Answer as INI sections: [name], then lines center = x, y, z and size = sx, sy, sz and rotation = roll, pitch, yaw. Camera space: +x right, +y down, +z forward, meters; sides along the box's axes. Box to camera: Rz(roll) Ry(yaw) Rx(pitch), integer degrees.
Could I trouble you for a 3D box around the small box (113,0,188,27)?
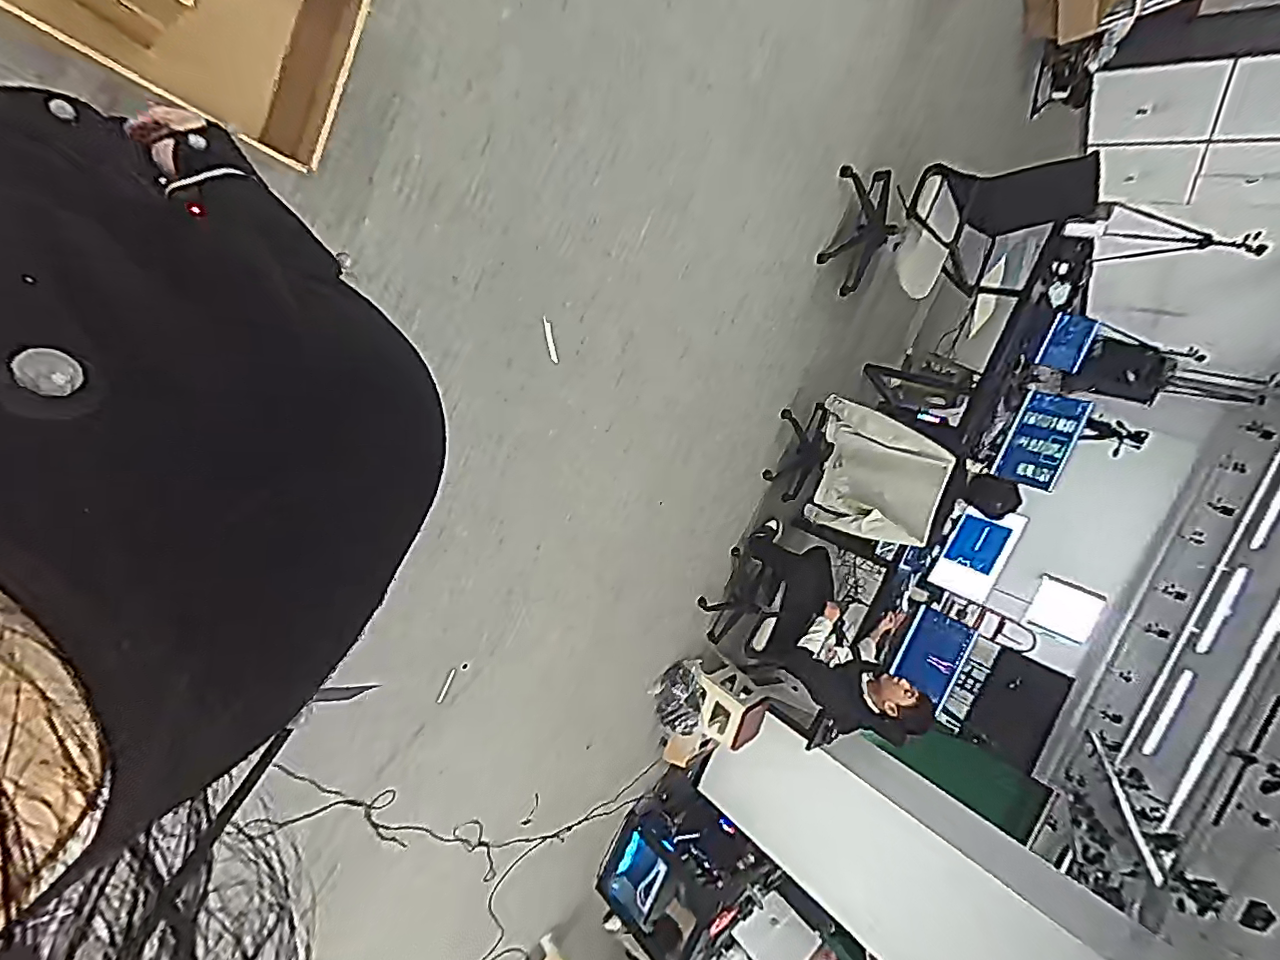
[small box]
center = -0.711, -0.773, 0.733
size = 0.168, 0.176, 0.179
rotation = 15, 99, -51
